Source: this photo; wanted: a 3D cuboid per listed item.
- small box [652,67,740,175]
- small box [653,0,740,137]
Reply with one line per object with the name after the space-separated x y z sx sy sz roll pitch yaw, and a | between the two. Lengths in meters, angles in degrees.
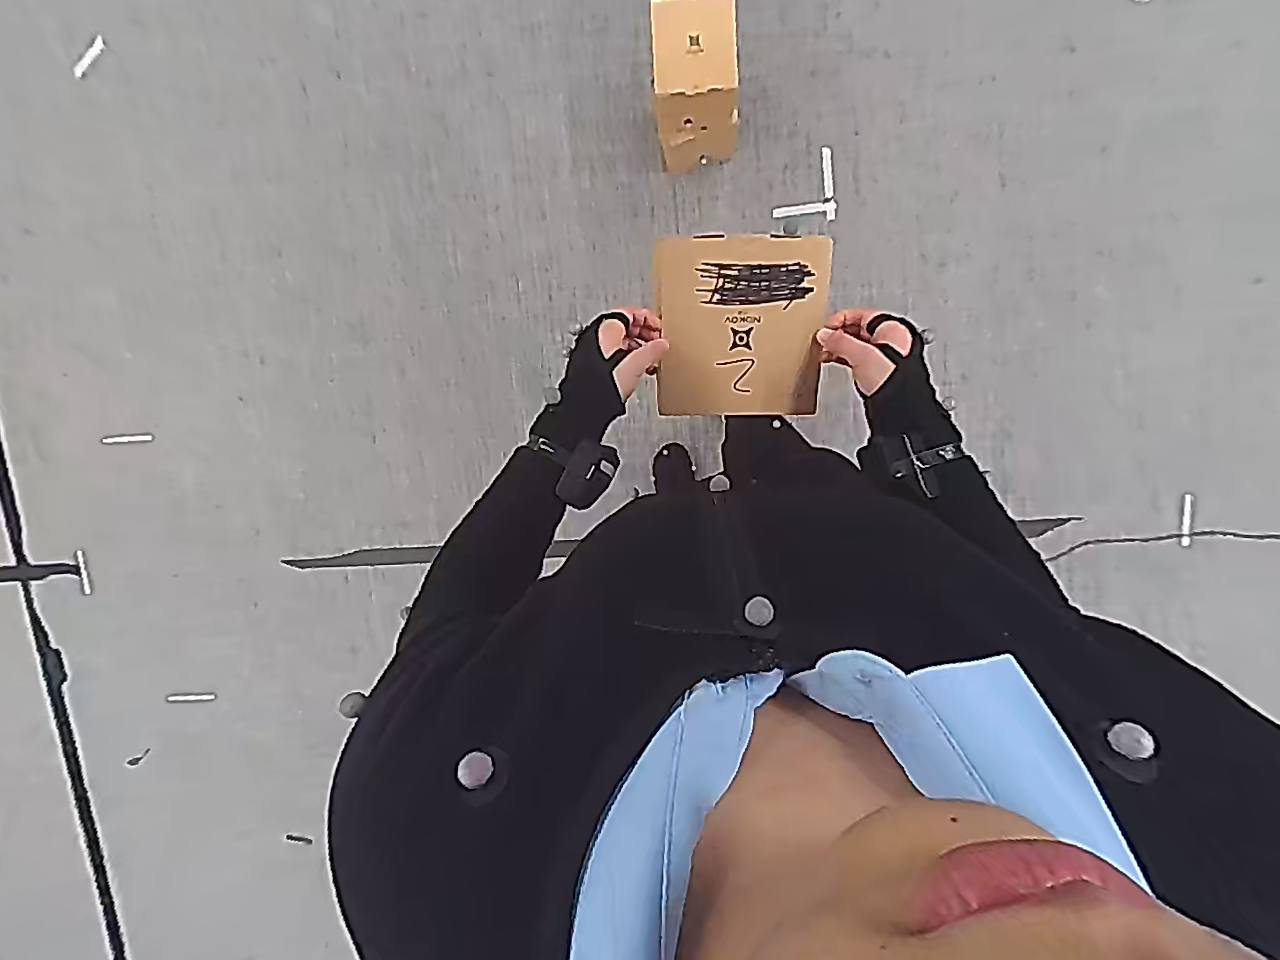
0.130 -0.869 1.287 0.168 0.176 0.179 -16 96 6 | small box
0.113 -0.854 1.125 0.168 0.176 0.179 -3 97 4 | small box
